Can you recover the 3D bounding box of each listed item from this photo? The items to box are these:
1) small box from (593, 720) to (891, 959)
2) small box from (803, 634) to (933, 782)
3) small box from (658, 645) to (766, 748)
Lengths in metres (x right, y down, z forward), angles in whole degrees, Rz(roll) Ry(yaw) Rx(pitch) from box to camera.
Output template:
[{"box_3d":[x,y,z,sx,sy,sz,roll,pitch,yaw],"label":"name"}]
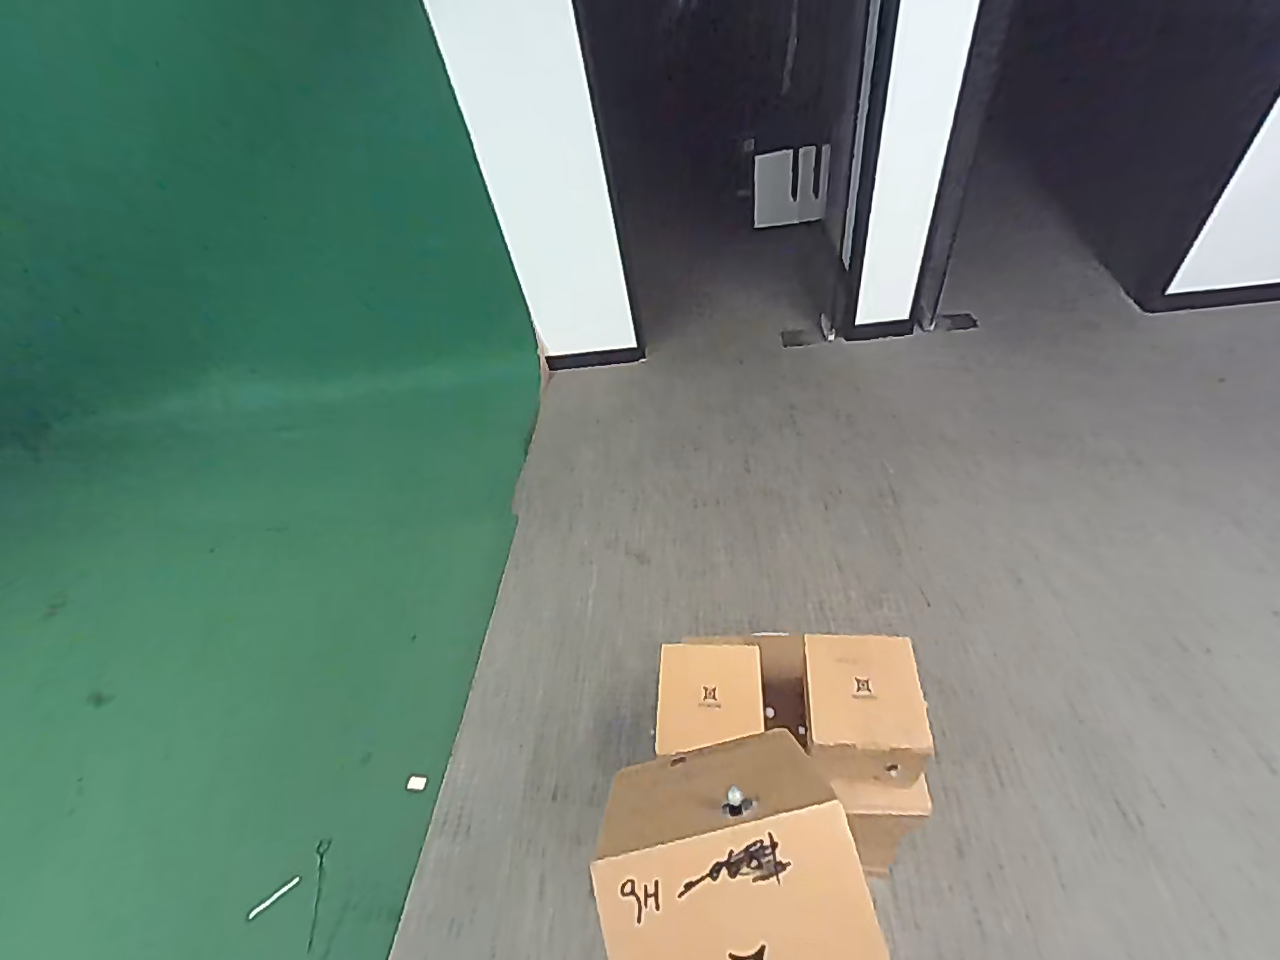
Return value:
[{"box_3d":[0.074,0.308,0.406,0.168,0.176,0.179,-15,79,0],"label":"small box"},{"box_3d":[0.357,0.371,0.878,0.168,0.176,0.179,-2,46,13],"label":"small box"},{"box_3d":[0.123,0.397,0.910,0.168,0.176,0.179,-2,49,9],"label":"small box"}]
